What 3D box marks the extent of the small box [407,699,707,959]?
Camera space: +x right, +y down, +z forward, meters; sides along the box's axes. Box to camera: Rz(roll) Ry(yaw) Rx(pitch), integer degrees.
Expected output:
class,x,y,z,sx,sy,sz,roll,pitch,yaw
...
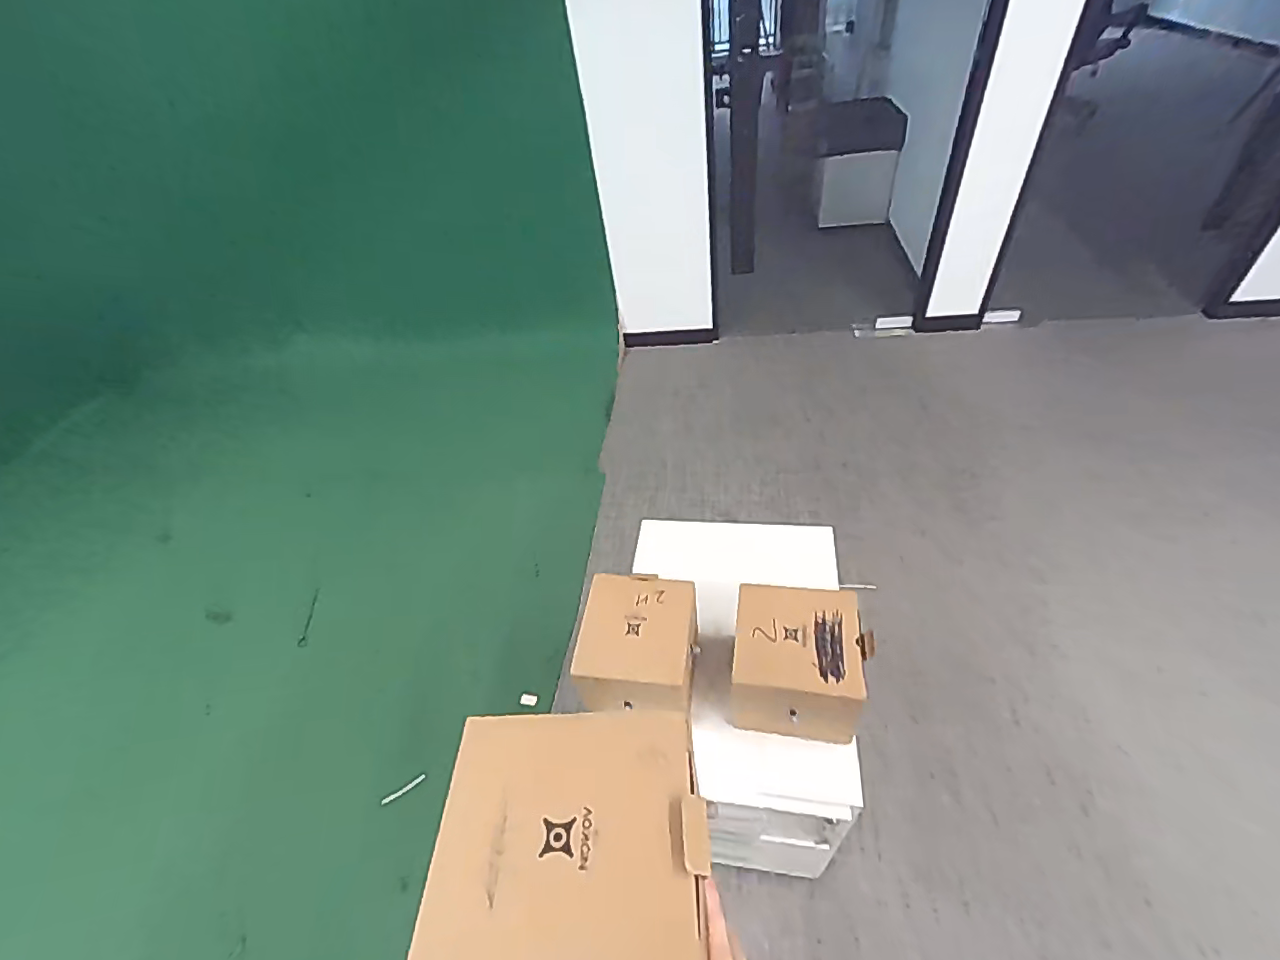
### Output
class,x,y,z,sx,sy,sz,roll,pitch,yaw
small box,-0.041,0.286,0.413,0.179,0.176,0.168,-5,42,5

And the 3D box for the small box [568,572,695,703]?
class,x,y,z,sx,sy,sz,roll,pitch,yaw
small box,-0.002,0.272,0.870,0.168,0.176,0.179,3,47,11
